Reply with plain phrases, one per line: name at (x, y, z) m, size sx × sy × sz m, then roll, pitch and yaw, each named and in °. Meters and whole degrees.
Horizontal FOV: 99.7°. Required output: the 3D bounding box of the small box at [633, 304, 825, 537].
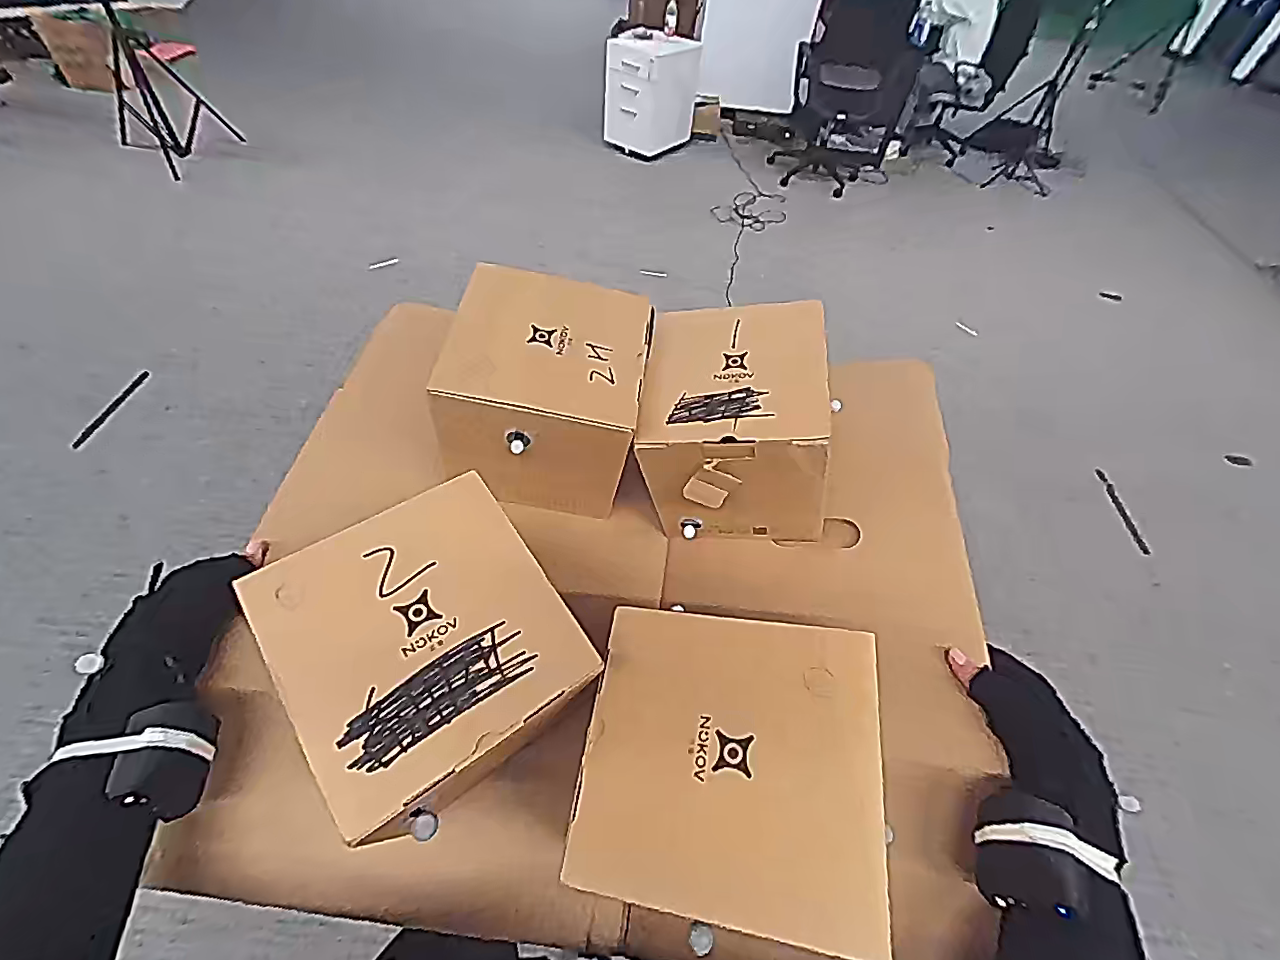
small box at (0.102, -0.054, 0.561) m, size 0.168 × 0.176 × 0.179 m, roll 0°, pitch 55°, yaw 15°

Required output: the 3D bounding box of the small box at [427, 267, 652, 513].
small box at (-0.095, -0.082, 0.557) m, size 0.179 × 0.176 × 0.168 m, roll 11°, pitch 58°, yaw -6°
